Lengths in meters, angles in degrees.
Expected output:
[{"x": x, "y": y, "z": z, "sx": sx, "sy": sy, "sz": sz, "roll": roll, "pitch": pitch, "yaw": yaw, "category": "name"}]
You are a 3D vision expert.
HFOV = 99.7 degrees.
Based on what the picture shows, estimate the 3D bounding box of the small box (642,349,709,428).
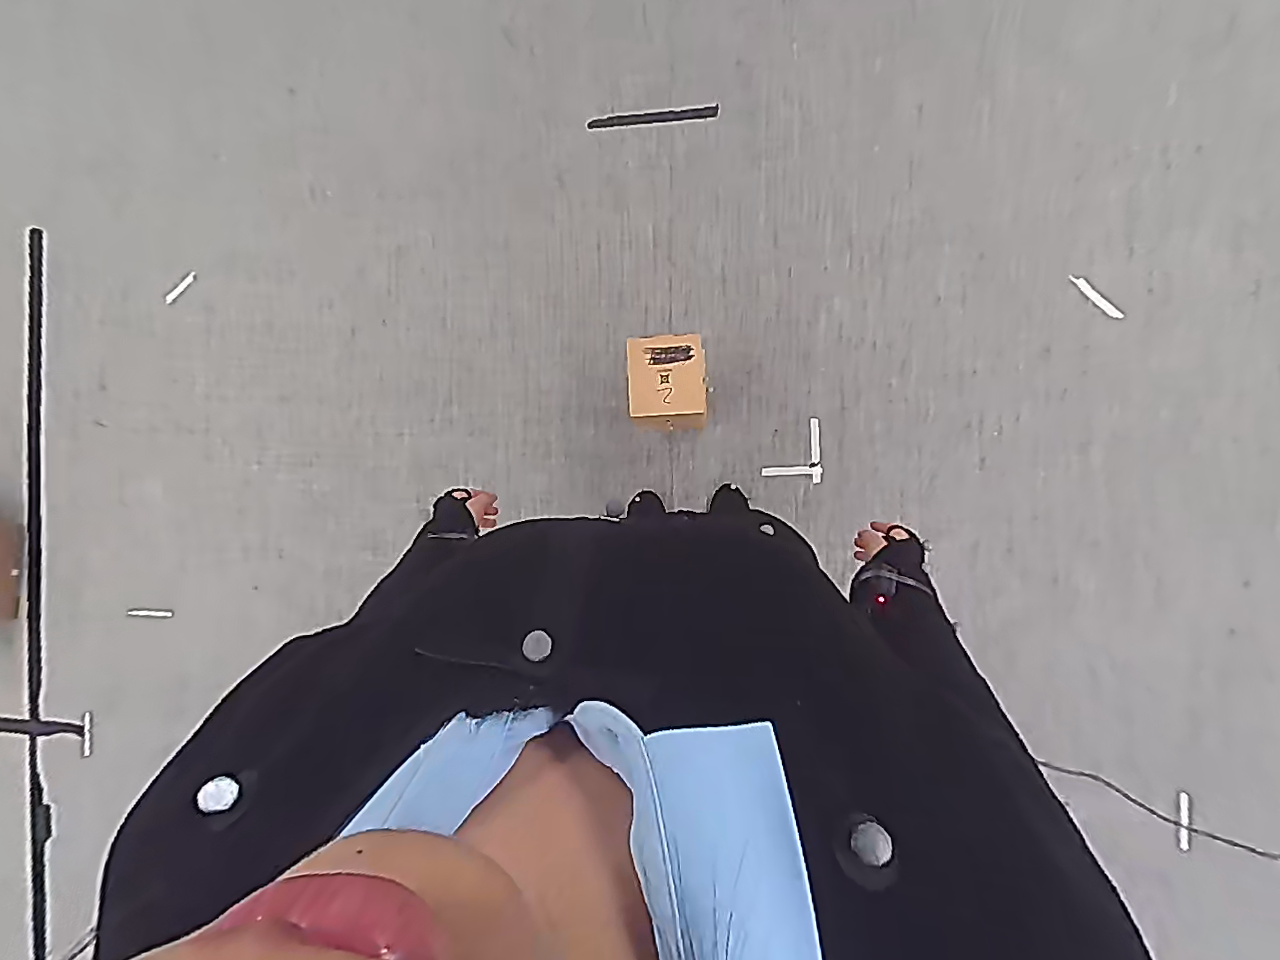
[{"x": 0.095, "y": -0.234, "z": 1.415, "sx": 0.168, "sy": 0.176, "sz": 0.179, "roll": -2, "pitch": 90, "yaw": 6, "category": "small box"}]
